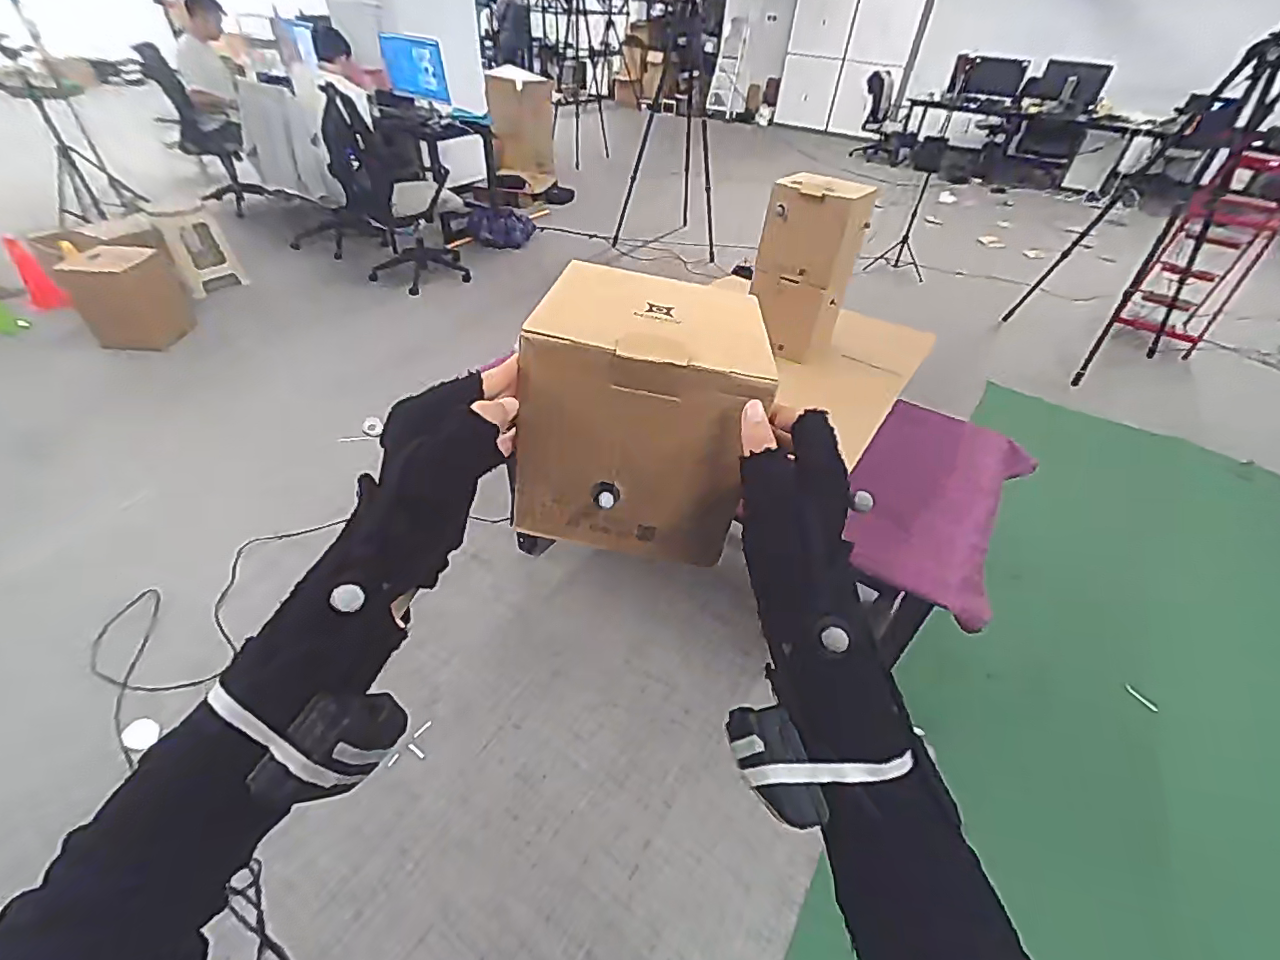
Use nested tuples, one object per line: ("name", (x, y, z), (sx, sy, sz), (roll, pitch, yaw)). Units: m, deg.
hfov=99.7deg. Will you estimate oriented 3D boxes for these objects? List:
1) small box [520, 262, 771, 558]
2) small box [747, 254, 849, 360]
("small box", (-0.002, -0.063, 0.458), (0.168, 0.176, 0.179), (11, 36, -2))
("small box", (0.348, -0.394, 1.233), (0.168, 0.176, 0.179), (28, 44, 24))
